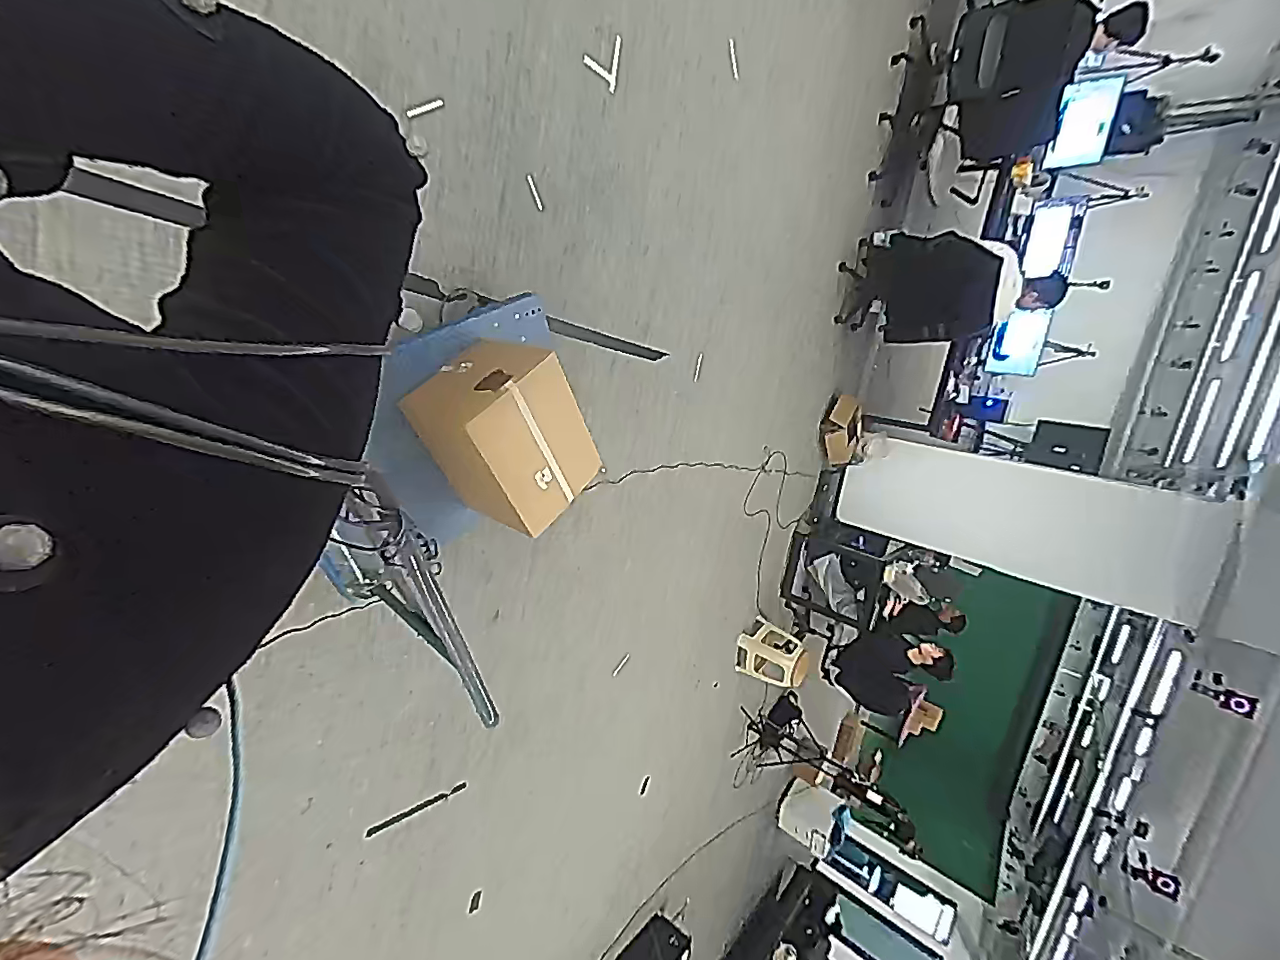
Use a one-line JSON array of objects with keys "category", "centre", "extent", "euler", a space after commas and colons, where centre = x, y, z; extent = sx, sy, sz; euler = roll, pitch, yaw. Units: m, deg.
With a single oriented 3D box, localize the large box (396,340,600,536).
[{"category": "large box", "centre": [-0.374, -0.122, 1.488], "extent": [0.320, 0.320, 0.408], "euler": [-48, 138, -28]}]
